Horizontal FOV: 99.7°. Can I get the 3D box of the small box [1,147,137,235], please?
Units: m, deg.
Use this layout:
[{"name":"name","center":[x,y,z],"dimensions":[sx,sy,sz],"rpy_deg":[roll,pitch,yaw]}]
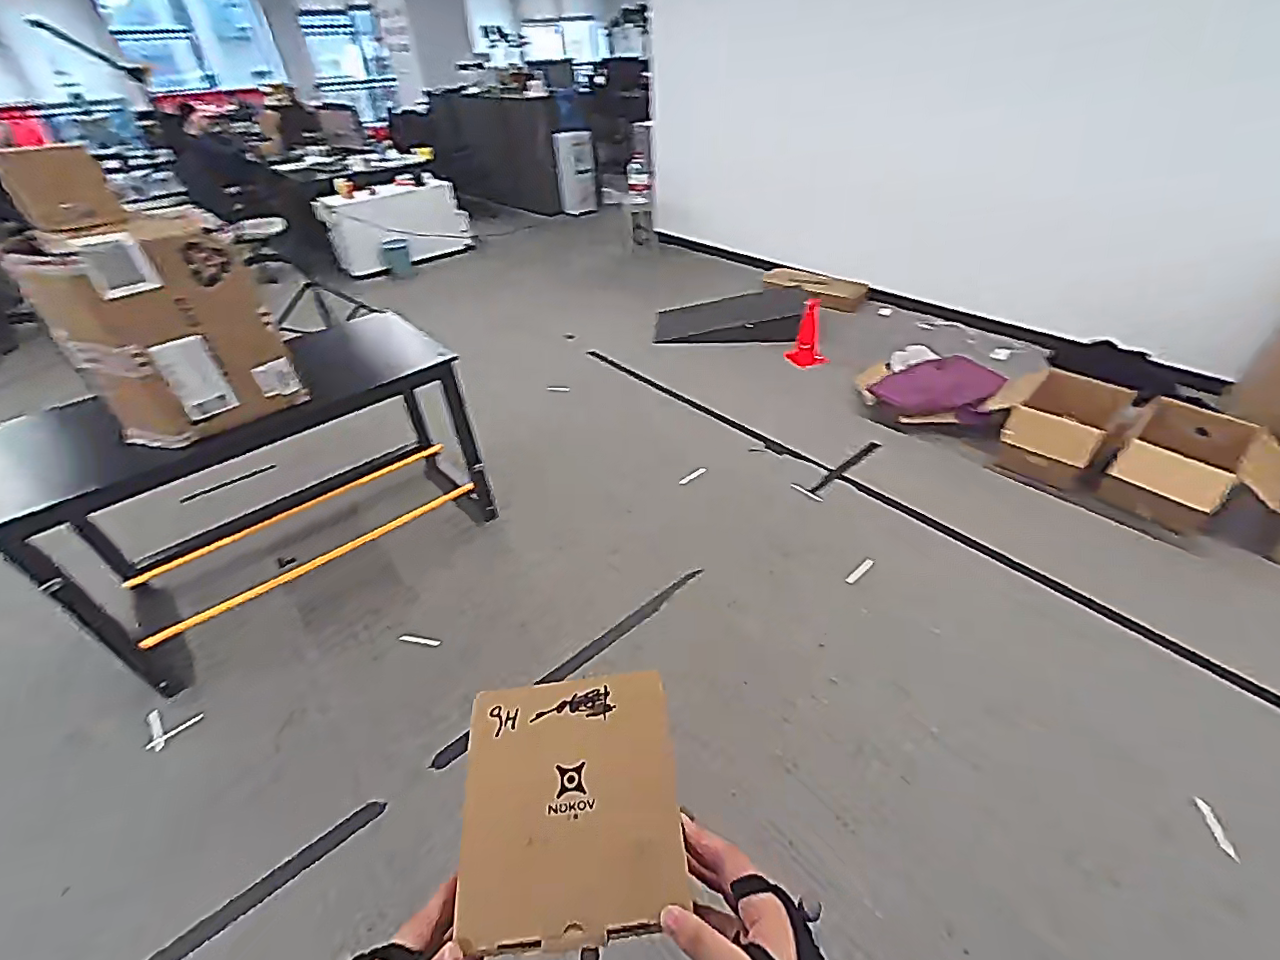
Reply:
[{"name":"small box","center":[-1.390,-0.707,1.322],"dimensions":[0.179,0.176,0.168],"rpy_deg":[27,47,34]}]
